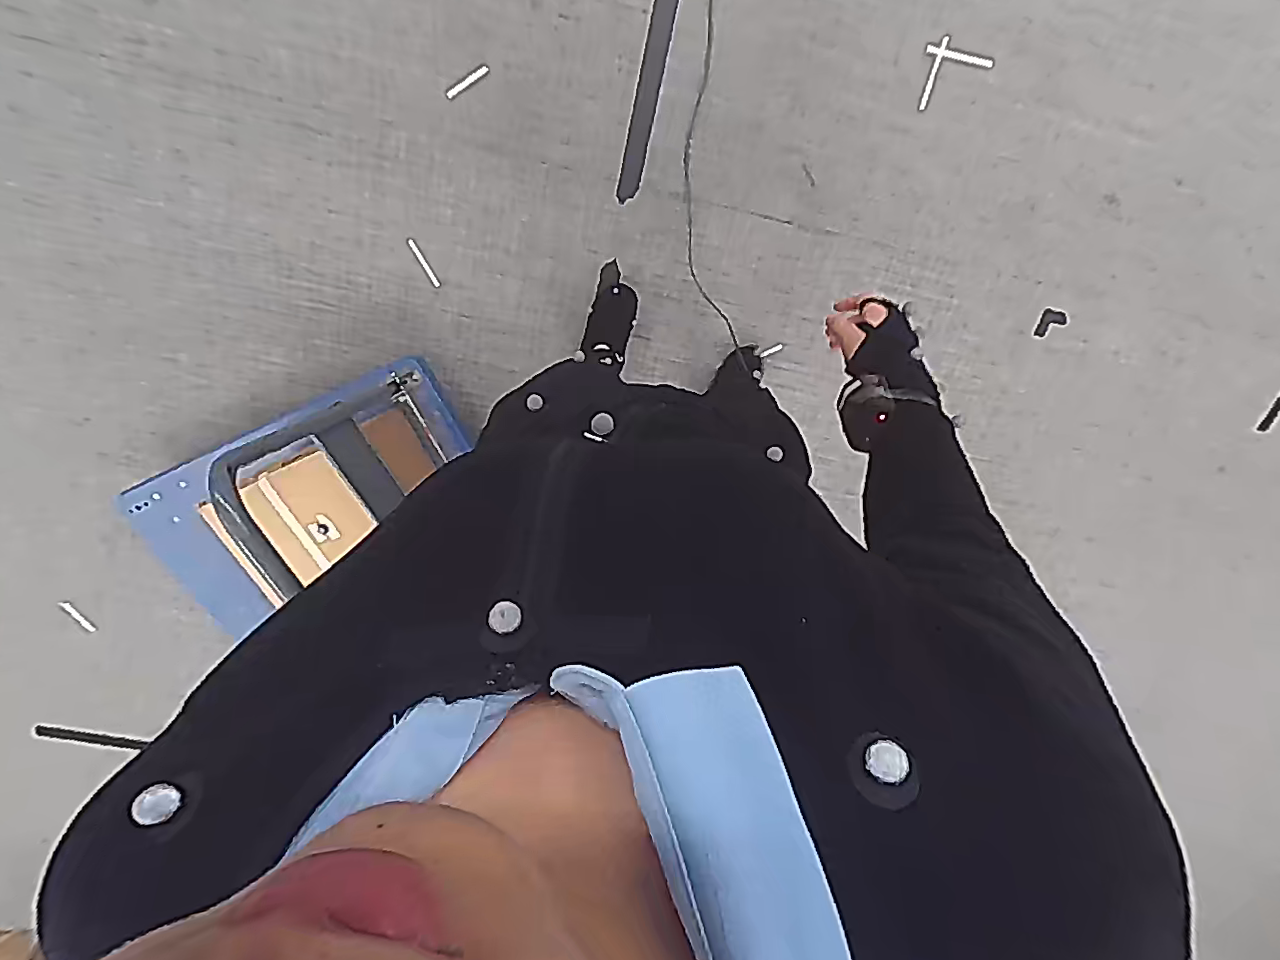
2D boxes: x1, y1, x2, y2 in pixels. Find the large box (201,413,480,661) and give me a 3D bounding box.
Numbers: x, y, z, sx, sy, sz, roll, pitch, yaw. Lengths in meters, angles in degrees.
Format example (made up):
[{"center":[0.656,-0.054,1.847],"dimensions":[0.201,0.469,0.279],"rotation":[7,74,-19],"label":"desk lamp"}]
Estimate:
[{"center":[-0.625,0.115,1.216],"dimensions":[0.320,0.320,0.408],"rotation":[-23,109,7],"label":"large box"}]
